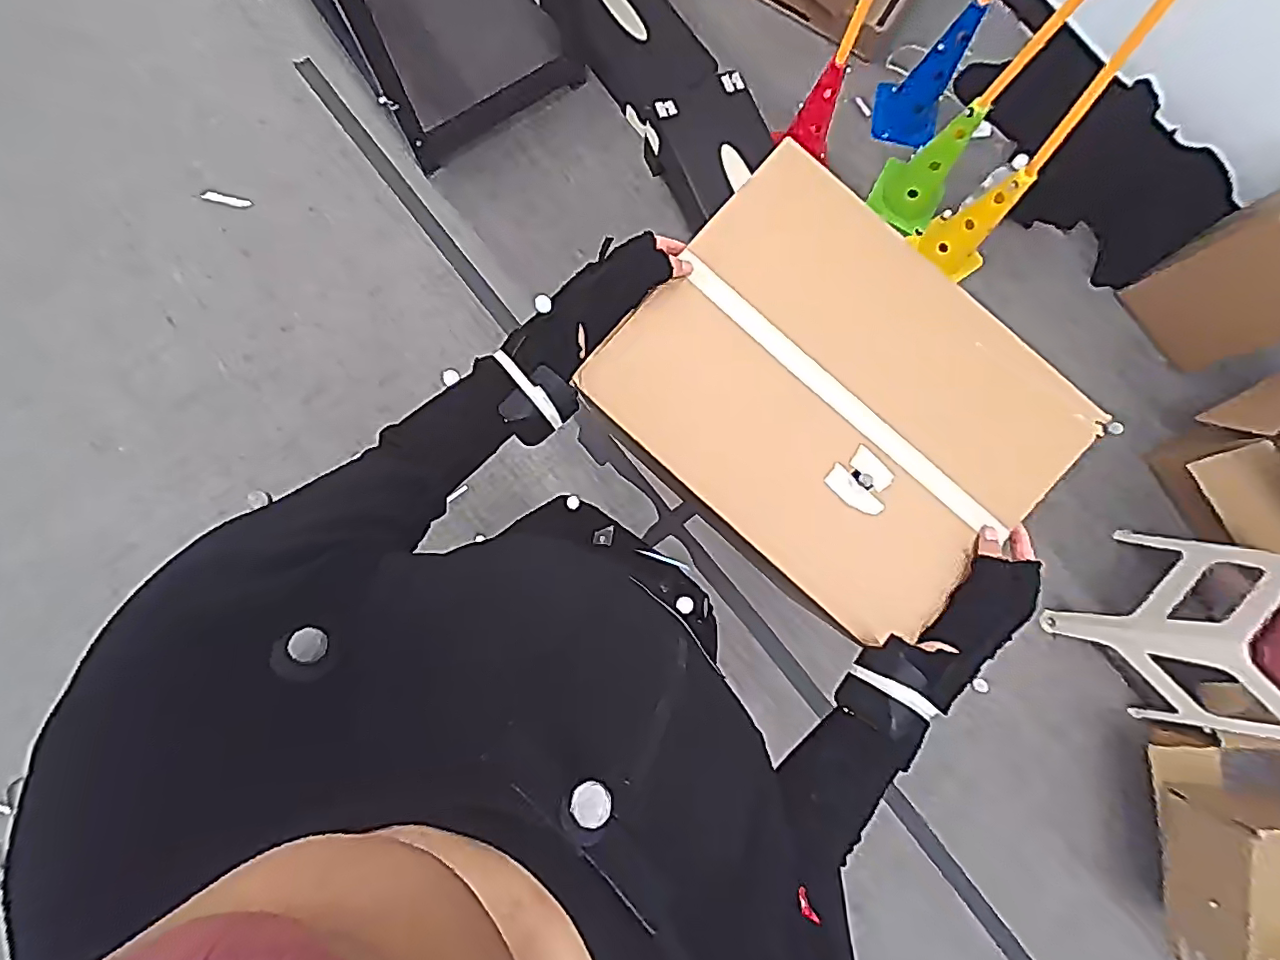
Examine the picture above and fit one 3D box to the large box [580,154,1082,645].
[{"bbox_3d":[0.182,-0.078,0.673,0.408,0.320,0.320,42,90,0],"label":"large box"}]
